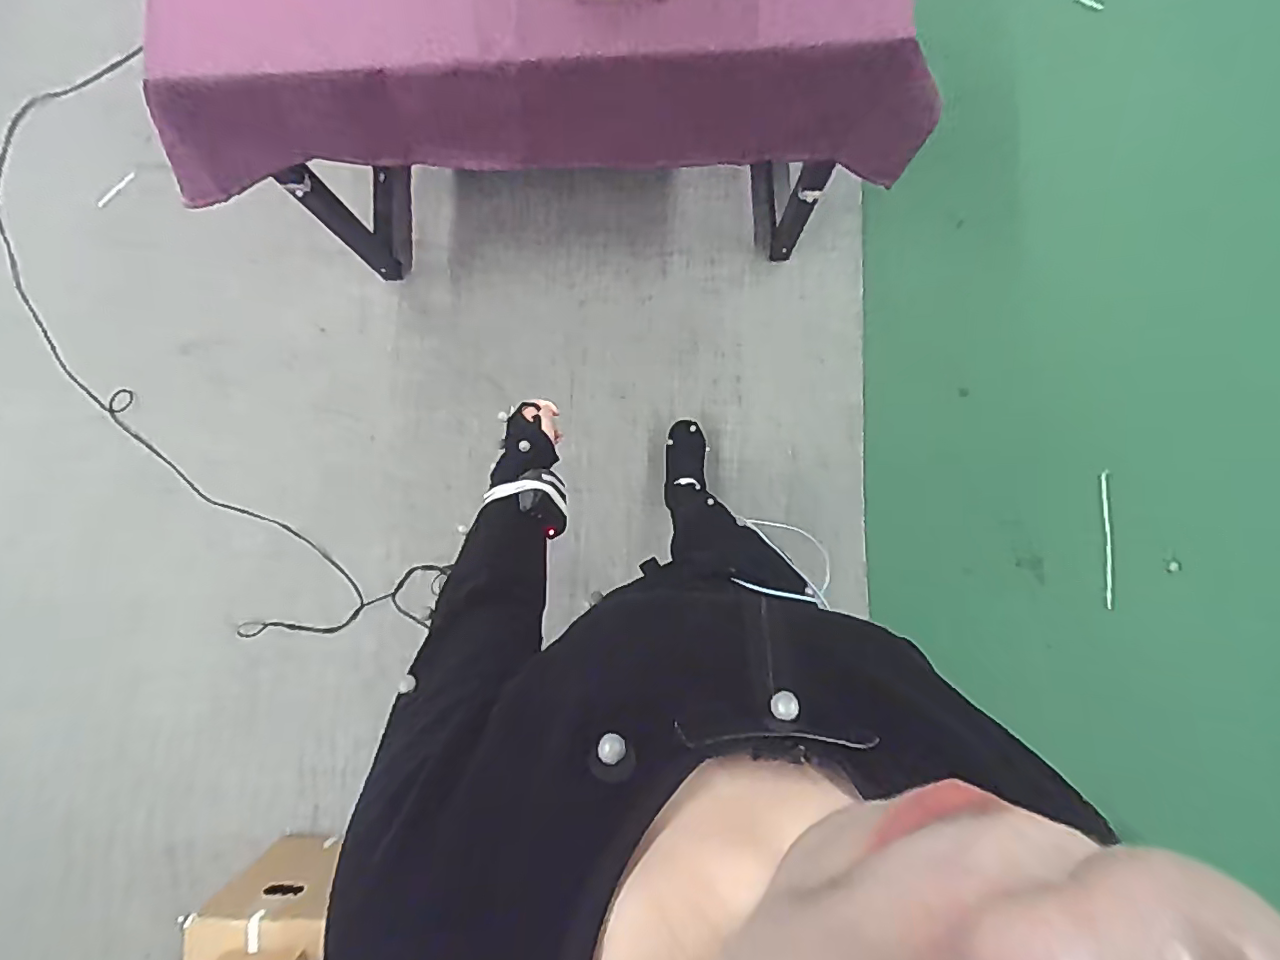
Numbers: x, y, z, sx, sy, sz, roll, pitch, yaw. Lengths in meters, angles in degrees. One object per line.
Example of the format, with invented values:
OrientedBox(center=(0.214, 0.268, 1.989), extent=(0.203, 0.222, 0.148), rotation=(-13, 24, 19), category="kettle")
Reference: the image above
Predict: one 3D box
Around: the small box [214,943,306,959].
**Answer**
OrientedBox(center=(-0.791, 1.051, 1.054), extent=(0.179, 0.176, 0.168), rotation=(-2, 86, -1), category="small box")
